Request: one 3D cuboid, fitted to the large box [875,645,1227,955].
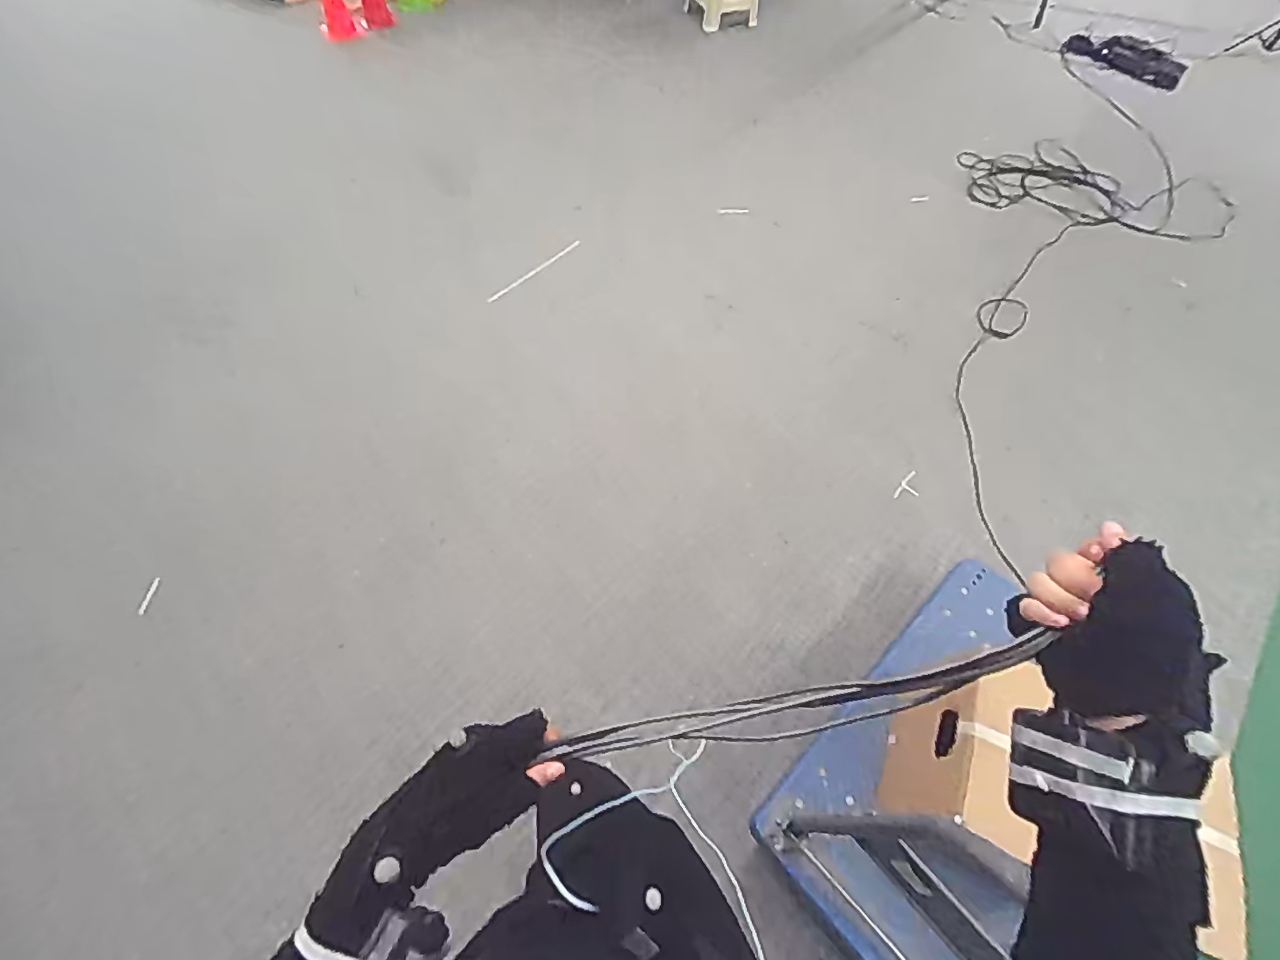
[{"bbox_3d":[0.723,0.561,1.005,0.408,0.320,0.320,23,62,11],"label":"large box"}]
